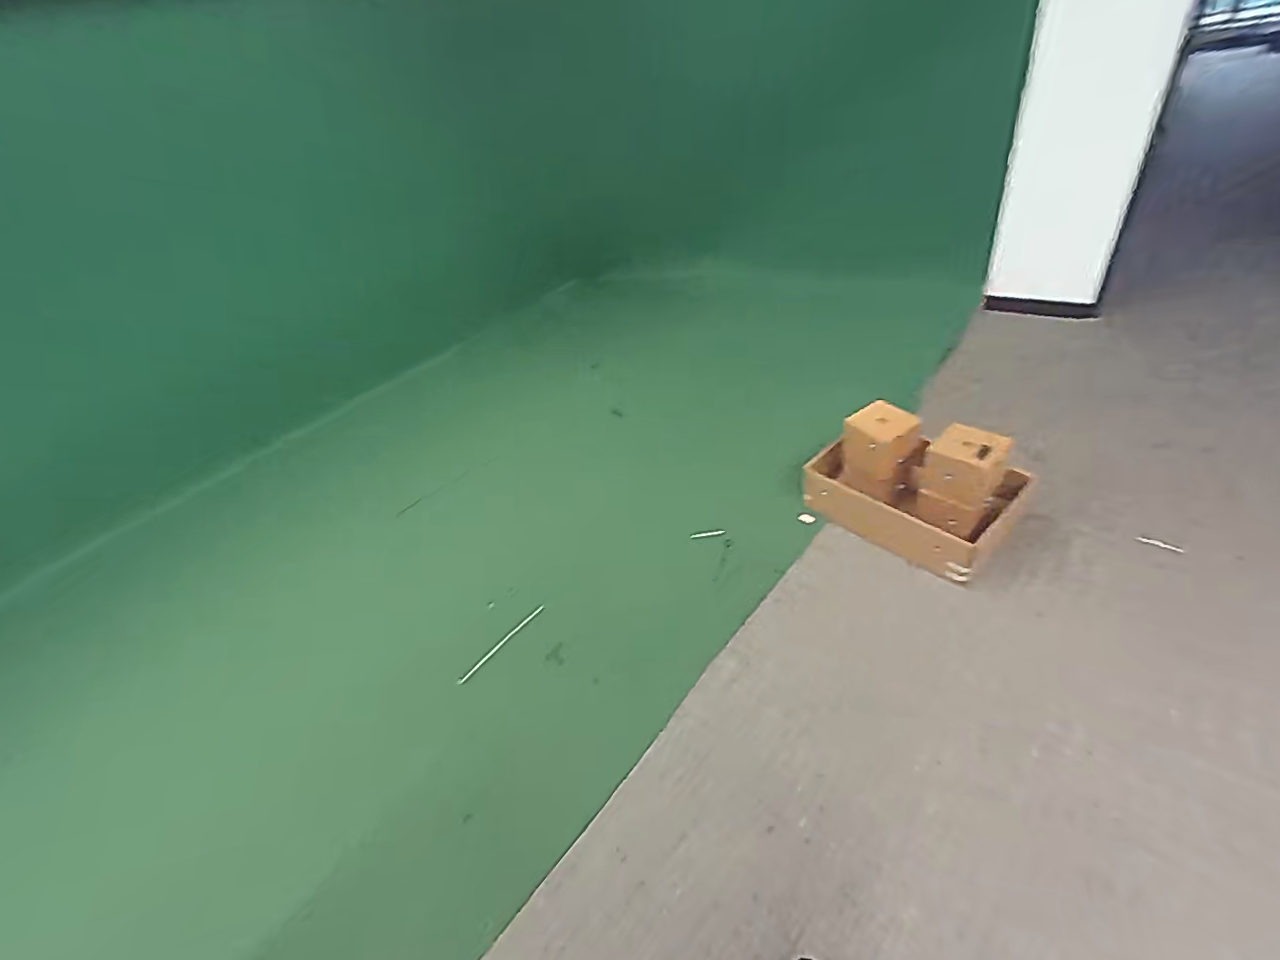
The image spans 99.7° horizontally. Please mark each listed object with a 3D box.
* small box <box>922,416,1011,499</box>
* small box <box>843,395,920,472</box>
[{"bbox_3d":[1.001,-0.066,1.668,0.168,0.176,0.179,-38,43,-23],"label":"small box"},{"bbox_3d":[0.813,-0.157,1.841,0.168,0.176,0.179,-29,44,-15],"label":"small box"}]
